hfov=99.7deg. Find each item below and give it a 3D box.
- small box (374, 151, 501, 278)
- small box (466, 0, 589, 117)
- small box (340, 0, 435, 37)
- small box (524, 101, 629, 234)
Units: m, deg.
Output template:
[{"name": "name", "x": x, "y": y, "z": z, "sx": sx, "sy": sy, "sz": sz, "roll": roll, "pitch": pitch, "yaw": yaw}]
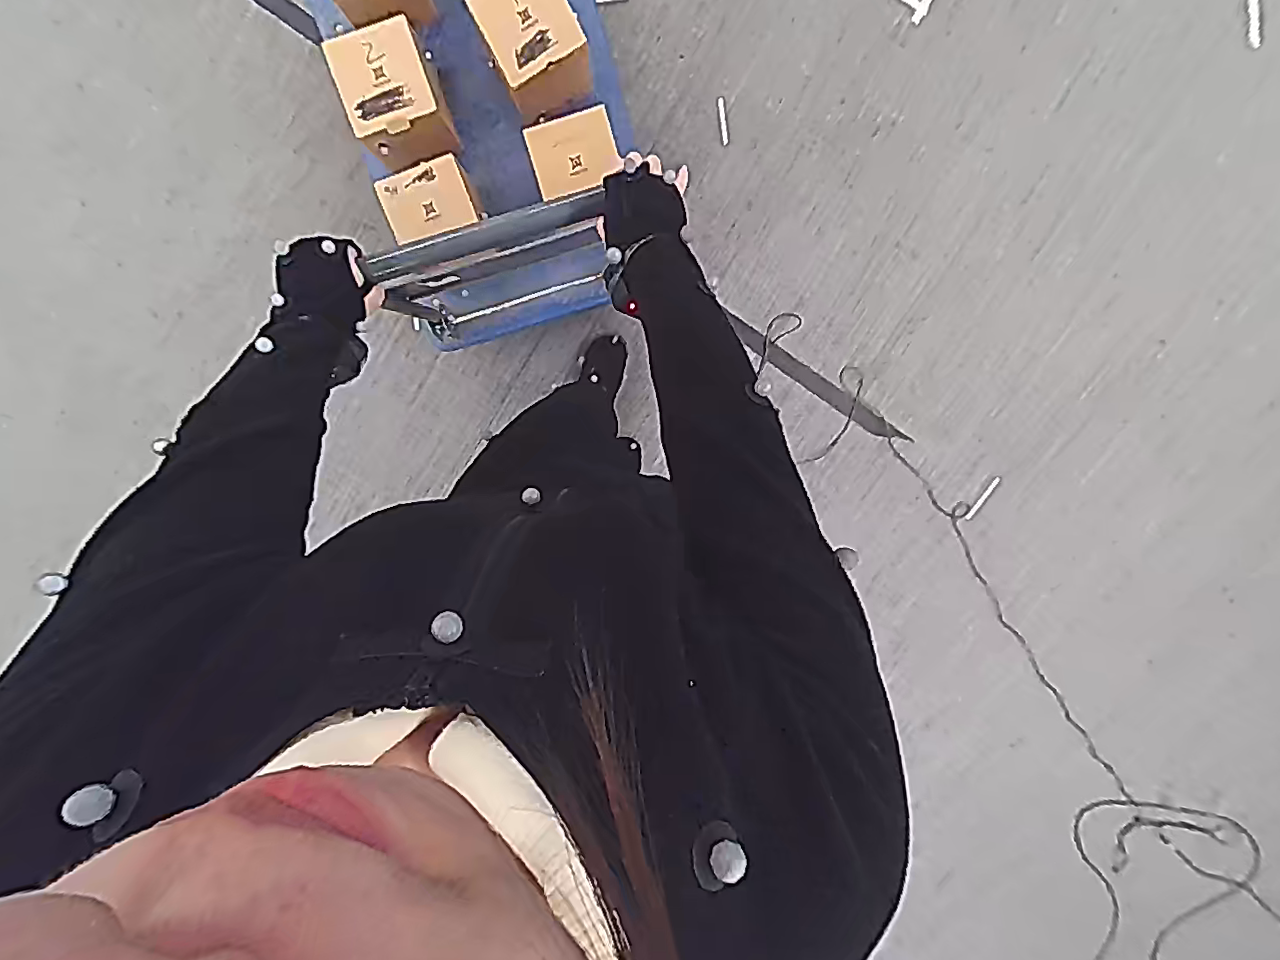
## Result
[{"name": "small box", "x": -0.407, "y": -0.535, "z": 1.123, "sx": 0.168, "sy": 0.176, "sz": 0.179, "roll": -21, "pitch": 100, "yaw": 1}, {"name": "small box", "x": -0.213, "y": -0.866, "z": 1.073, "sx": 0.168, "sy": 0.176, "sz": 0.179, "roll": -29, "pitch": 98, "yaw": 3}, {"name": "small box", "x": -0.520, "y": -1.014, "z": 1.037, "sx": 0.168, "sy": 0.176, "sz": 0.179, "roll": -15, "pitch": 101, "yaw": 1}, {"name": "small box", "x": -0.123, "y": -0.628, "z": 1.118, "sx": 0.168, "sy": 0.176, "sz": 0.179, "roll": -17, "pitch": 99, "yaw": 1}]
